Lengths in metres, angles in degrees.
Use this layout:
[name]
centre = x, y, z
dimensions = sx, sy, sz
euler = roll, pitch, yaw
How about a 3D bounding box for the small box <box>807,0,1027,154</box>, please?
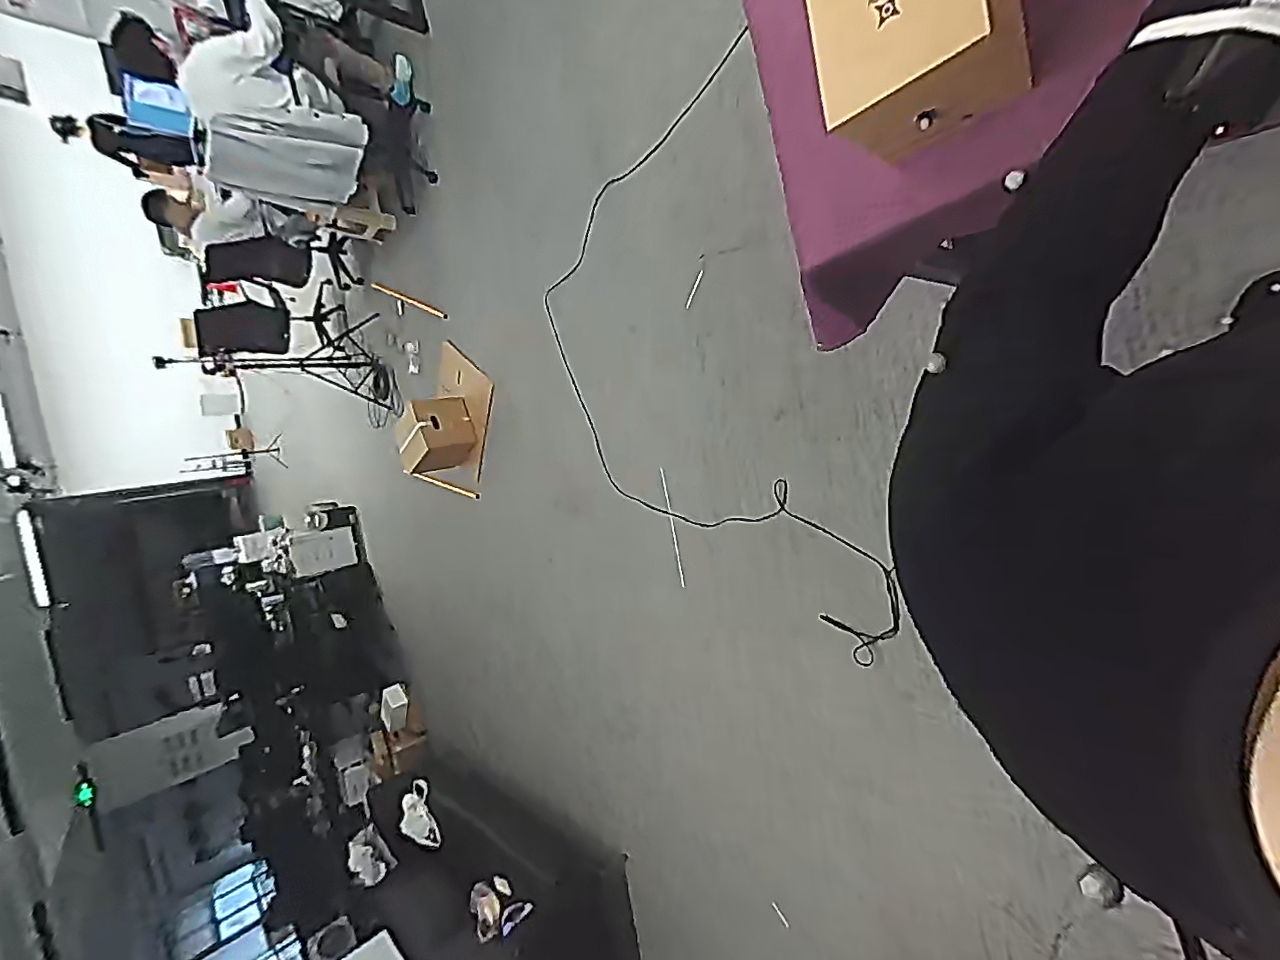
[small box]
centre = 0.314, -0.500, 0.611
dimensions = 0.168, 0.176, 0.179
euler = -7, 94, 47
